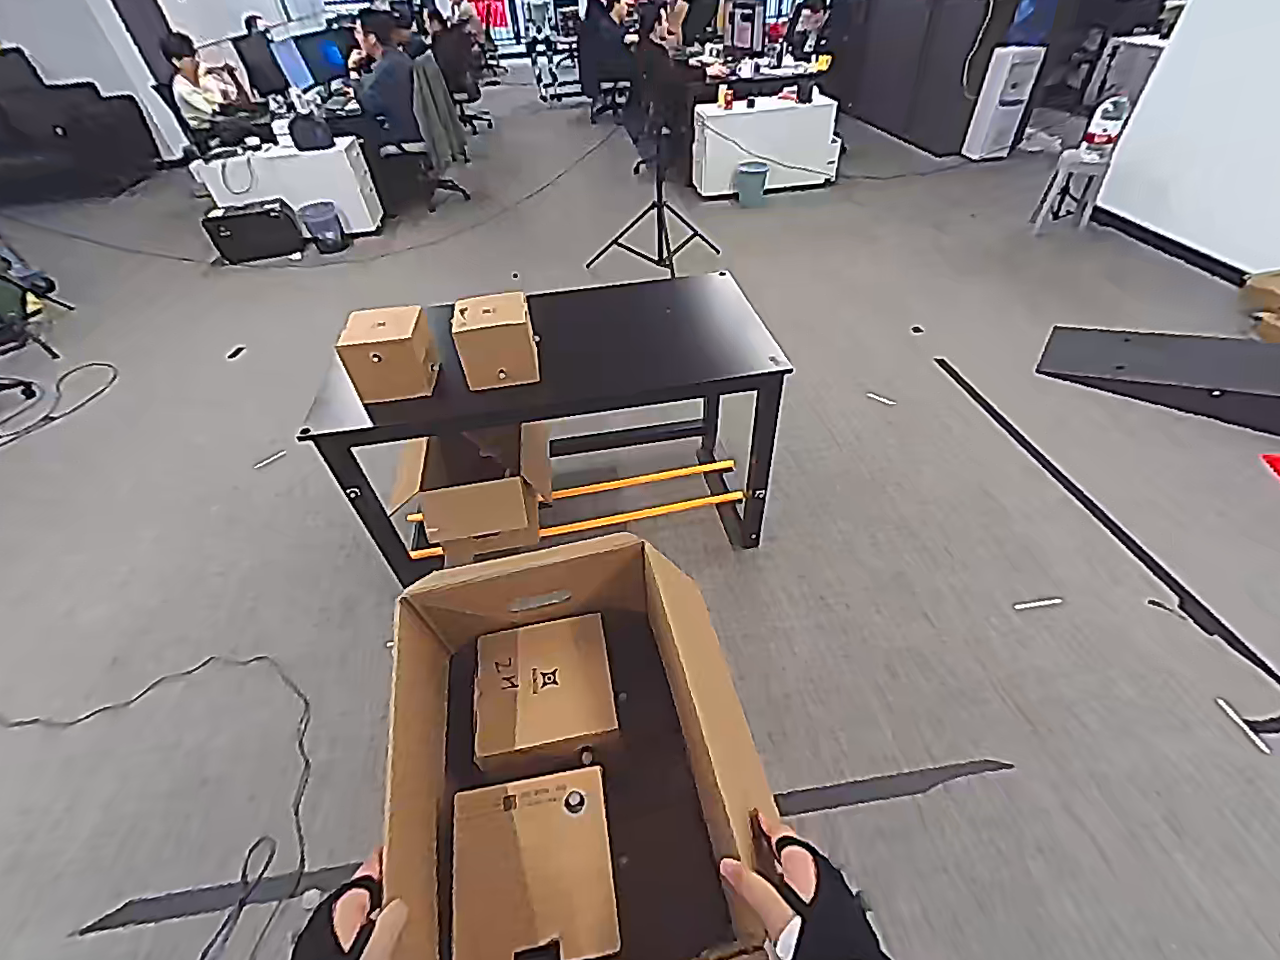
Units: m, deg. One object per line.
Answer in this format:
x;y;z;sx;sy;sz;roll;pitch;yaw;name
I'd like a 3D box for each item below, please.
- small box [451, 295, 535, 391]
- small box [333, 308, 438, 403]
-0.363;-0.344;1.364;0.179;0.176;0.168;-9;44;-6;small box
-0.623;-0.307;1.345;0.179;0.176;0.168;-7;45;-5;small box
